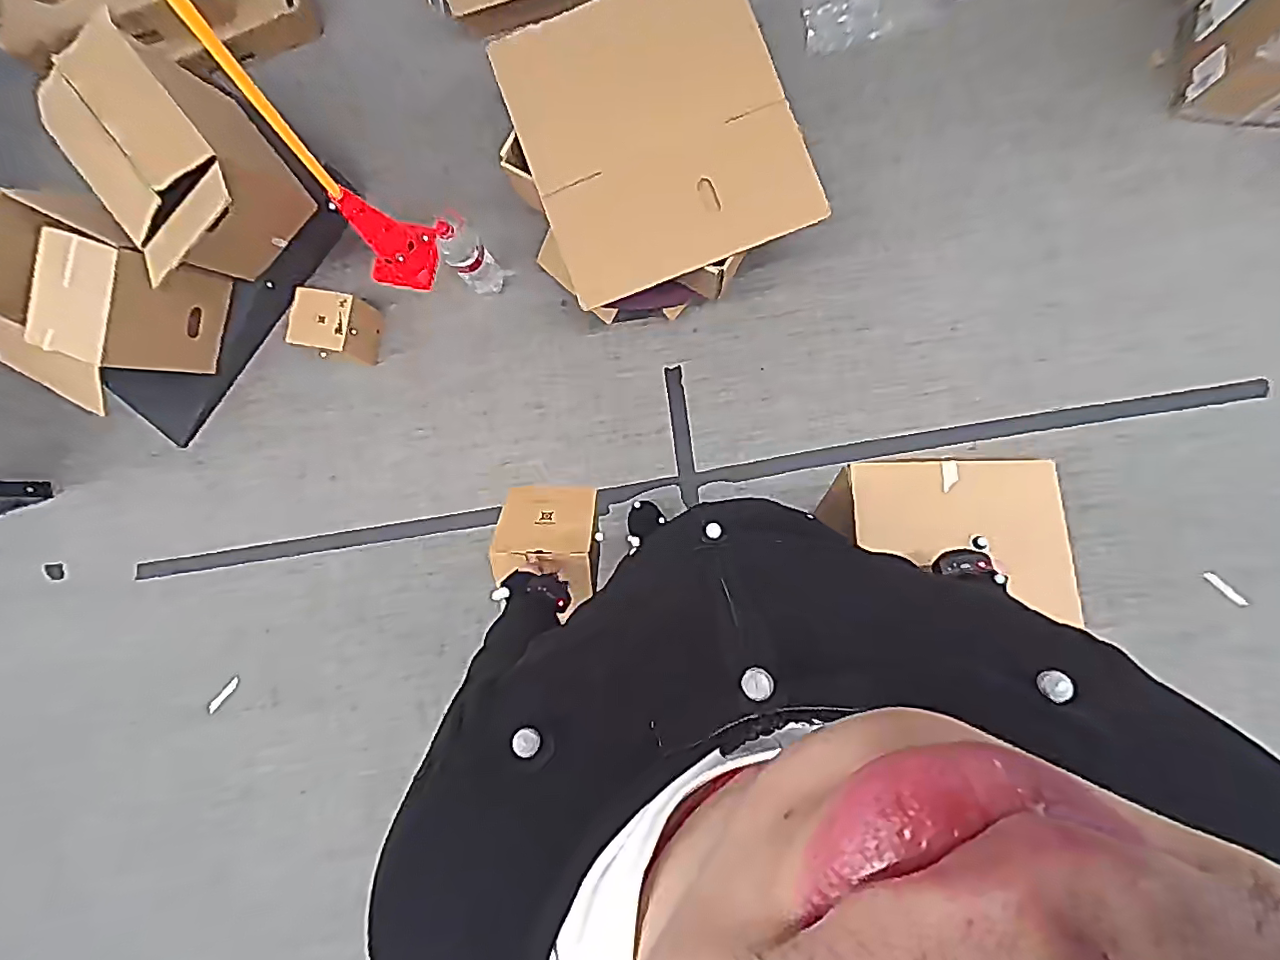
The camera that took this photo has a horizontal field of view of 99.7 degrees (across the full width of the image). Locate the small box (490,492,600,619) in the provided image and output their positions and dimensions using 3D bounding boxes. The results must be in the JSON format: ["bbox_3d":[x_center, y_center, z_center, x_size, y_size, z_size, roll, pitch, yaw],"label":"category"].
[{"bbox_3d":[-0.164,0.140,1.000,0.168,0.179,0.176,1,125,0],"label":"small box"}]
